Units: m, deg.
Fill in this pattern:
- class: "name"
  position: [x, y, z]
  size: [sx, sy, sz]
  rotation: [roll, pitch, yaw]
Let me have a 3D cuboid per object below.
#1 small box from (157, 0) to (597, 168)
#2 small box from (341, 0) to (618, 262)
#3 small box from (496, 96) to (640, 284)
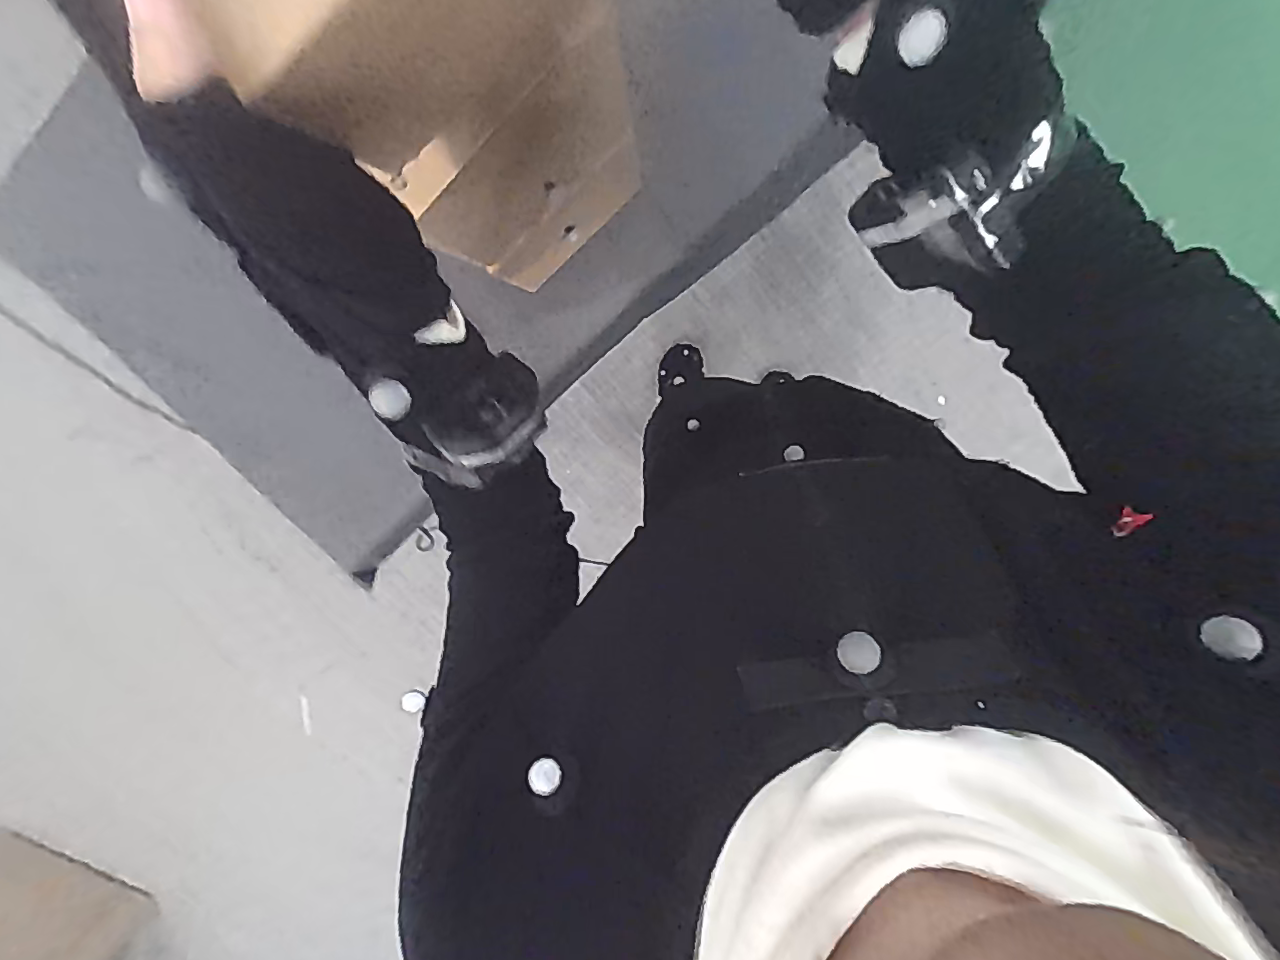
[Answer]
- class: "small box"
  position: [-0.098, -0.240, 0.183]
  size: [0.179, 0.176, 0.168]
  rotation: [-38, 115, 9]
- class: "small box"
  position: [-0.129, -0.288, 0.390]
  size: [0.179, 0.176, 0.168]
  rotation: [-40, 99, 11]
- class: "small box"
  position: [-0.116, -0.326, 0.548]
  size: [0.179, 0.176, 0.168]
  rotation: [-44, 98, 11]
